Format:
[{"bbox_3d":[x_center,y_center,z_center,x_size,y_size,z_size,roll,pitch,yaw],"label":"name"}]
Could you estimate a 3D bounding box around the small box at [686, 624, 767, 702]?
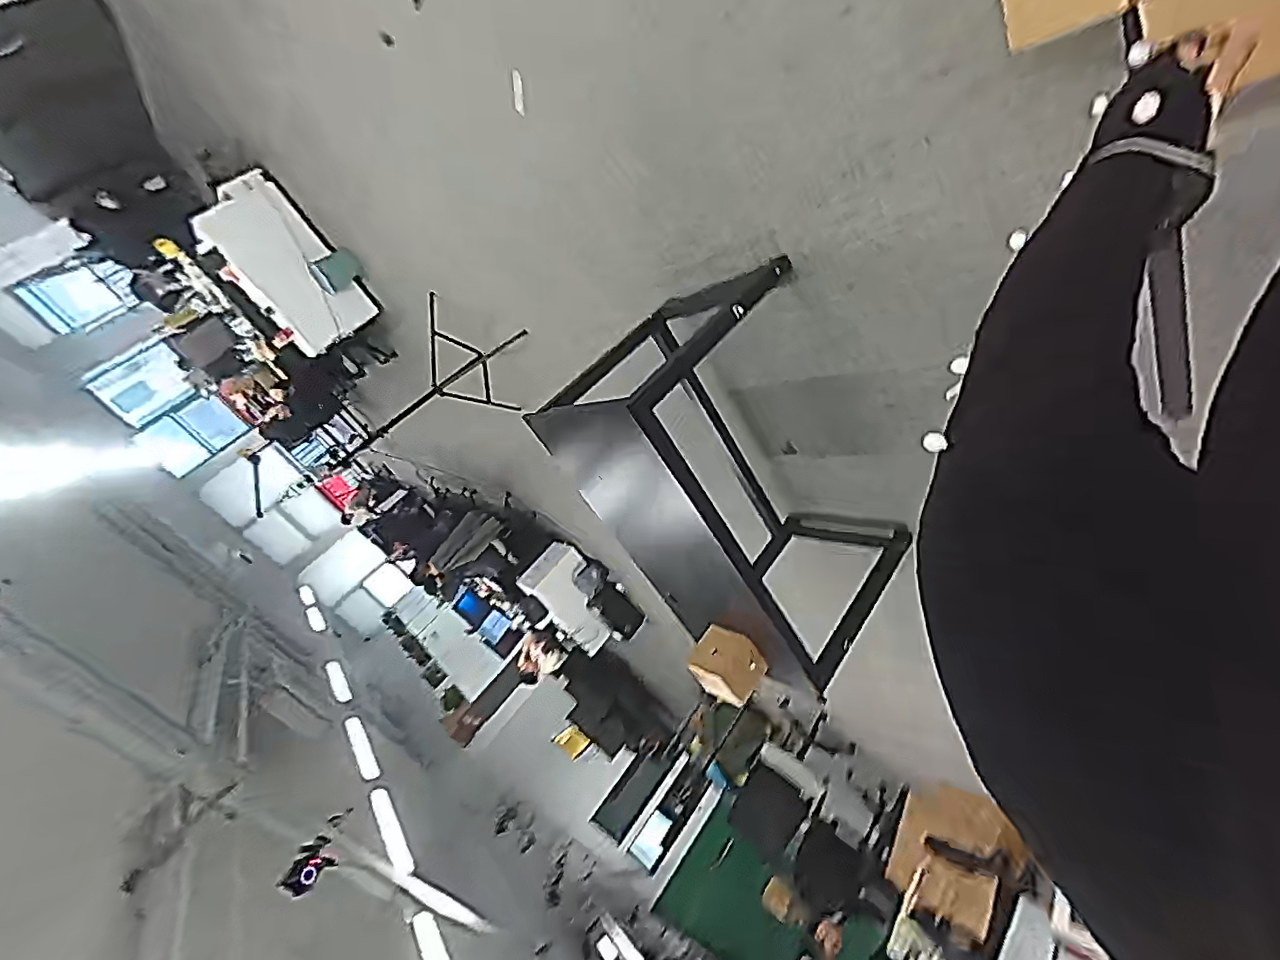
[{"bbox_3d":[0.299,0.618,1.854,0.179,0.176,0.168,2,133,55],"label":"small box"}]
